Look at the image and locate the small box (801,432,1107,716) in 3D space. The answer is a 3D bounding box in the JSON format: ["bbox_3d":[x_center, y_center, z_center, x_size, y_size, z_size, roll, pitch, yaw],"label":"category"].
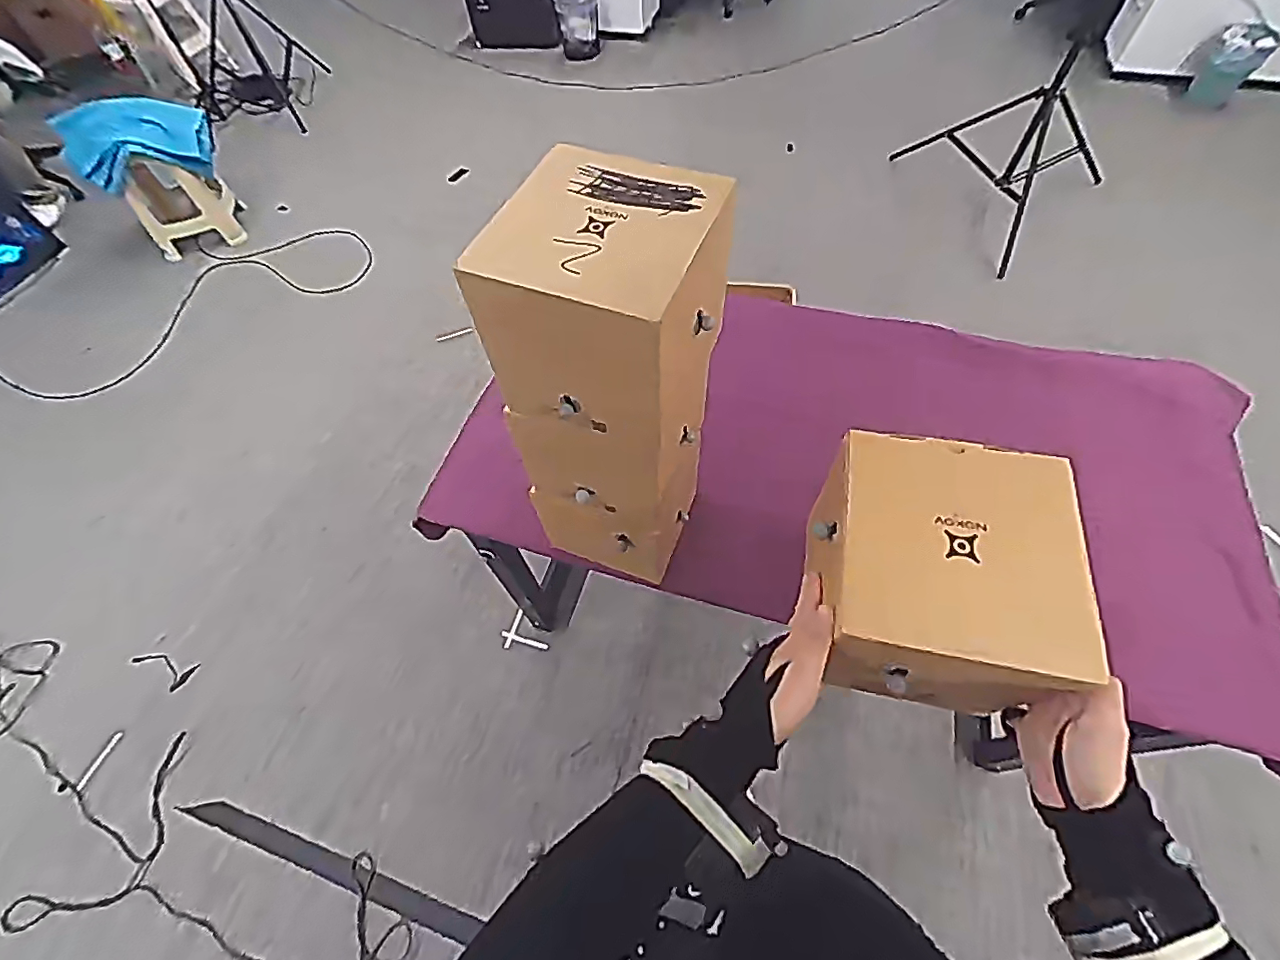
[{"bbox_3d":[0.237,0.086,0.458,0.168,0.176,0.179,9,60,10],"label":"small box"}]

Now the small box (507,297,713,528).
[{"bbox_3d":[-0.025,-0.073,0.623,0.168,0.176,0.179,17,62,13],"label":"small box"}]

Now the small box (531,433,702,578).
[{"bbox_3d":[-0.024,0.019,0.759,0.179,0.176,0.168,18,61,14],"label":"small box"}]
